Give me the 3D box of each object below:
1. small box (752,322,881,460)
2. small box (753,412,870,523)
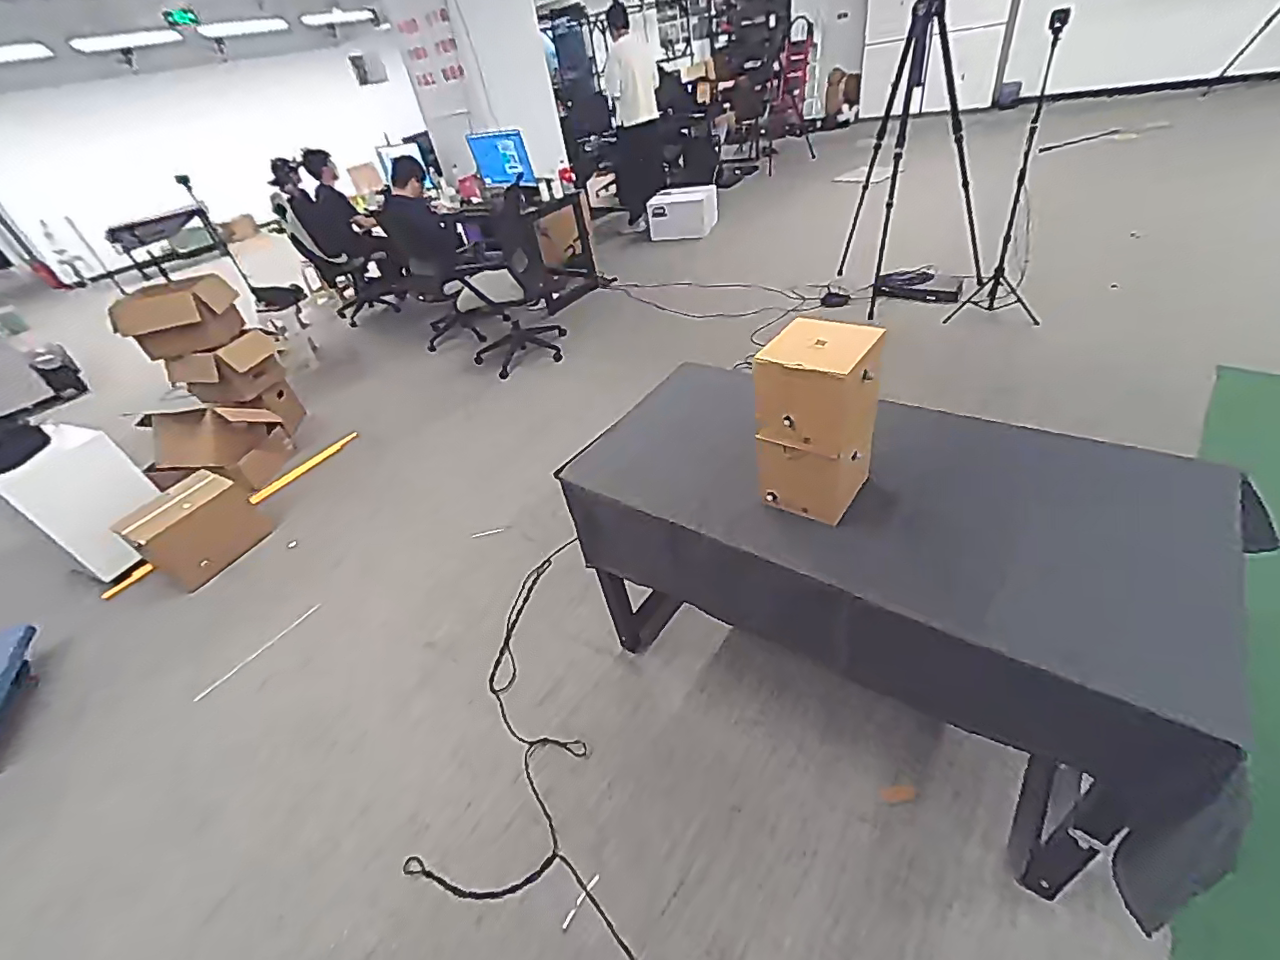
[{"bbox_3d":[0.317,-0.165,0.983,0.168,0.176,0.179,20,48,34],"label":"small box"},{"bbox_3d":[0.344,-0.041,1.083,0.168,0.176,0.179,19,47,34],"label":"small box"}]
